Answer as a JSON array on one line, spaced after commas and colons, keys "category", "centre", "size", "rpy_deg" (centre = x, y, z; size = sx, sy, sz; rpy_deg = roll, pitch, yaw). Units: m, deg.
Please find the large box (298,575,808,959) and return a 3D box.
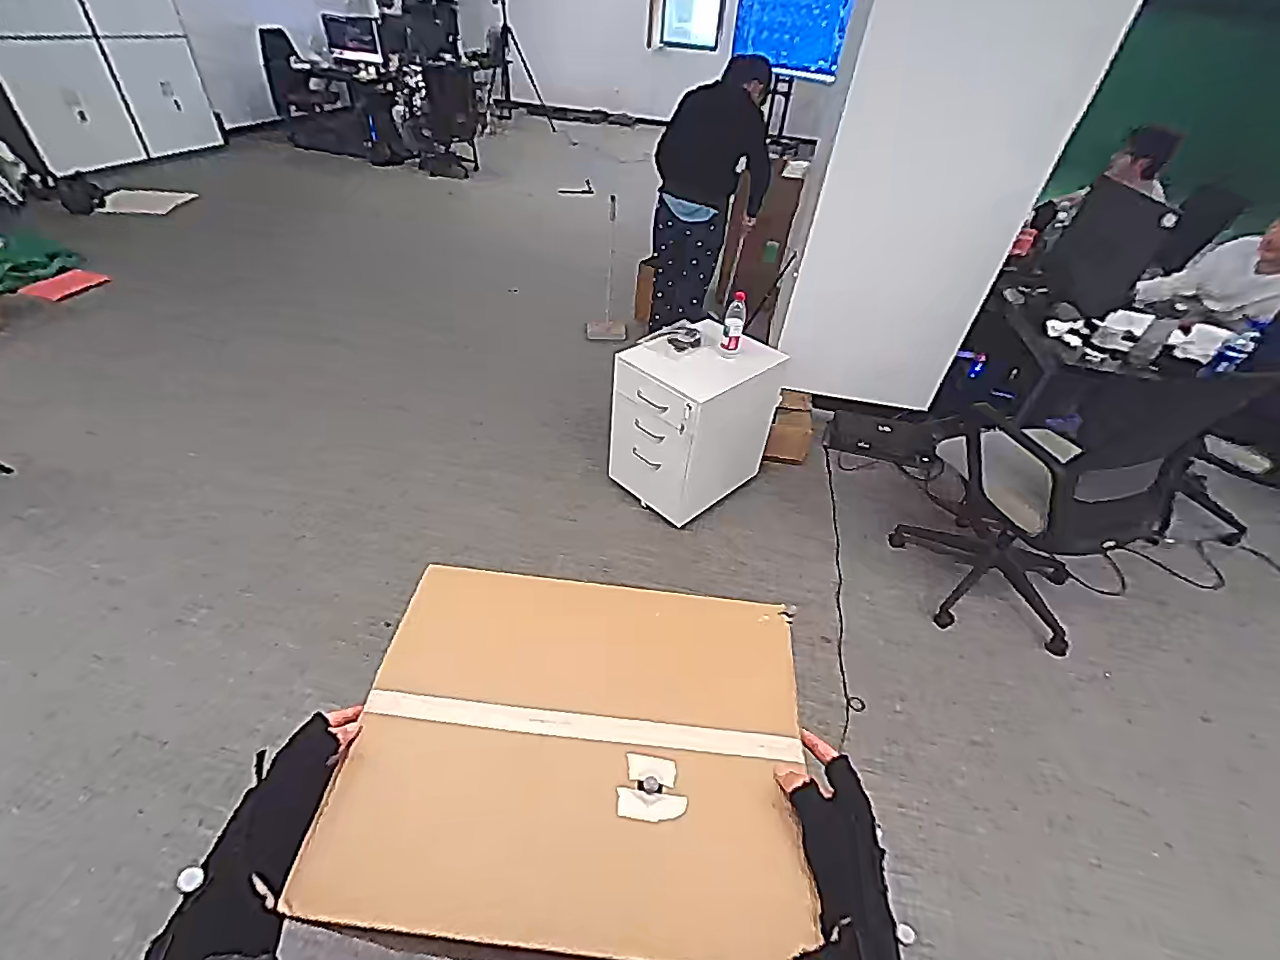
[{"category": "large box", "centre": [-0.068, 0.339, 0.622], "size": [0.408, 0.320, 0.320], "rpy_deg": [6, 46, 0]}]
